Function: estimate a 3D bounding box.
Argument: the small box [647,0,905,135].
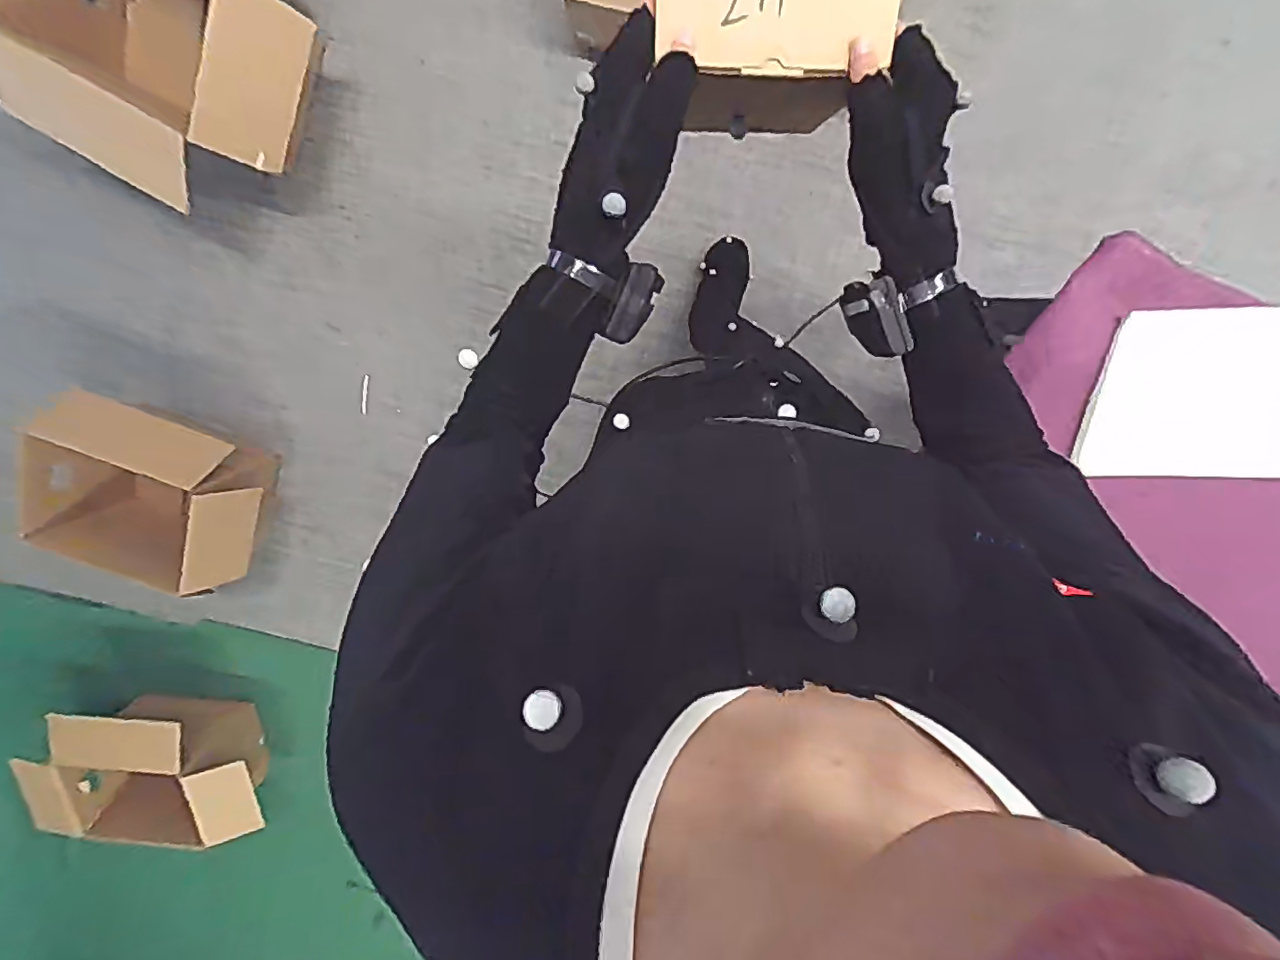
[{"bbox_3d":[0.093,-0.392,0.416,0.168,0.176,0.179,1,110,-3],"label":"small box"}]
